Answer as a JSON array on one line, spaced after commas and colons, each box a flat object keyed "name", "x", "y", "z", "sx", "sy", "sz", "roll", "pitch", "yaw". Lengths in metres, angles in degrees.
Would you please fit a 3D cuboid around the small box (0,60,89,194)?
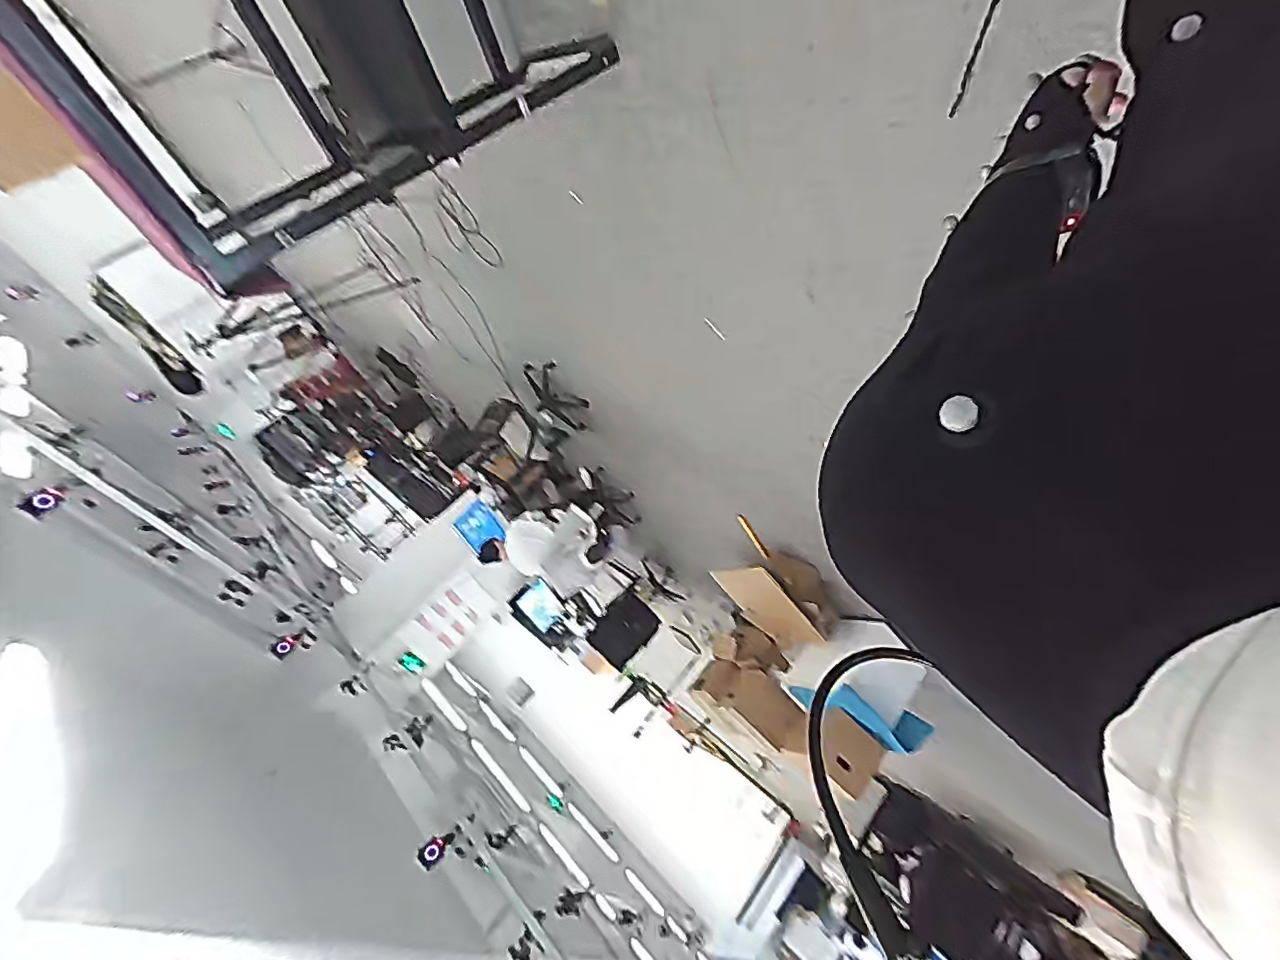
[{"name": "small box", "x": -1.268, "y": -0.701, "z": 1.084, "sx": 0.168, "sy": 0.176, "sz": 0.179, "roll": 25, "pitch": 151, "yaw": 41}]
